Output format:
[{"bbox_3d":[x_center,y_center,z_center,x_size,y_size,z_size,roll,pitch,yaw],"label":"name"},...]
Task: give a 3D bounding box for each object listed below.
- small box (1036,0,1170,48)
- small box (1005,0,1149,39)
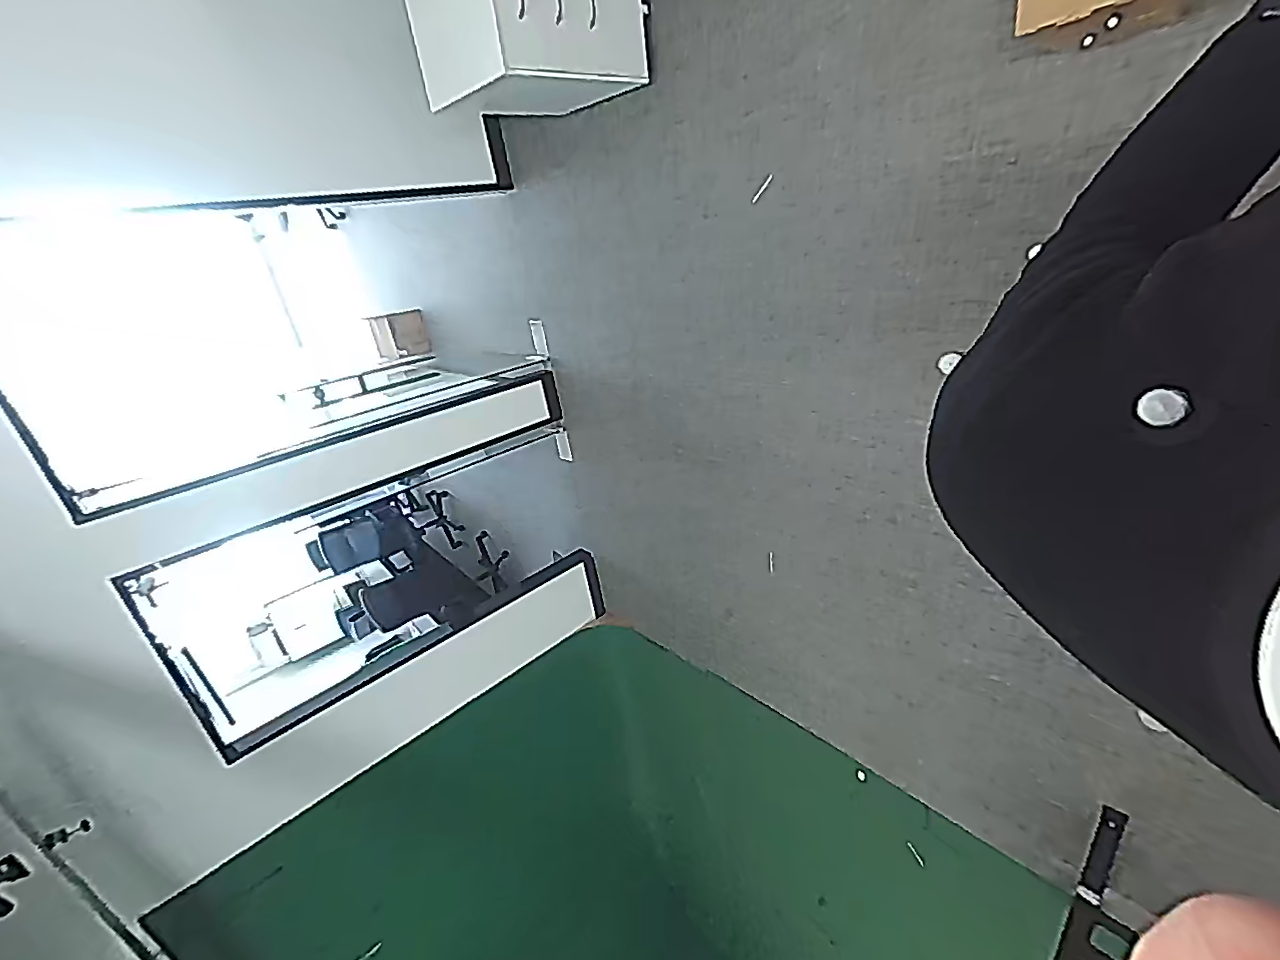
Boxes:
[{"bbox_3d":[0.839,-0.906,0.963,0.168,0.176,0.179,20,127,45],"label":"small box"},{"bbox_3d":[0.720,-0.846,0.872,0.168,0.176,0.179,16,123,46],"label":"small box"}]
